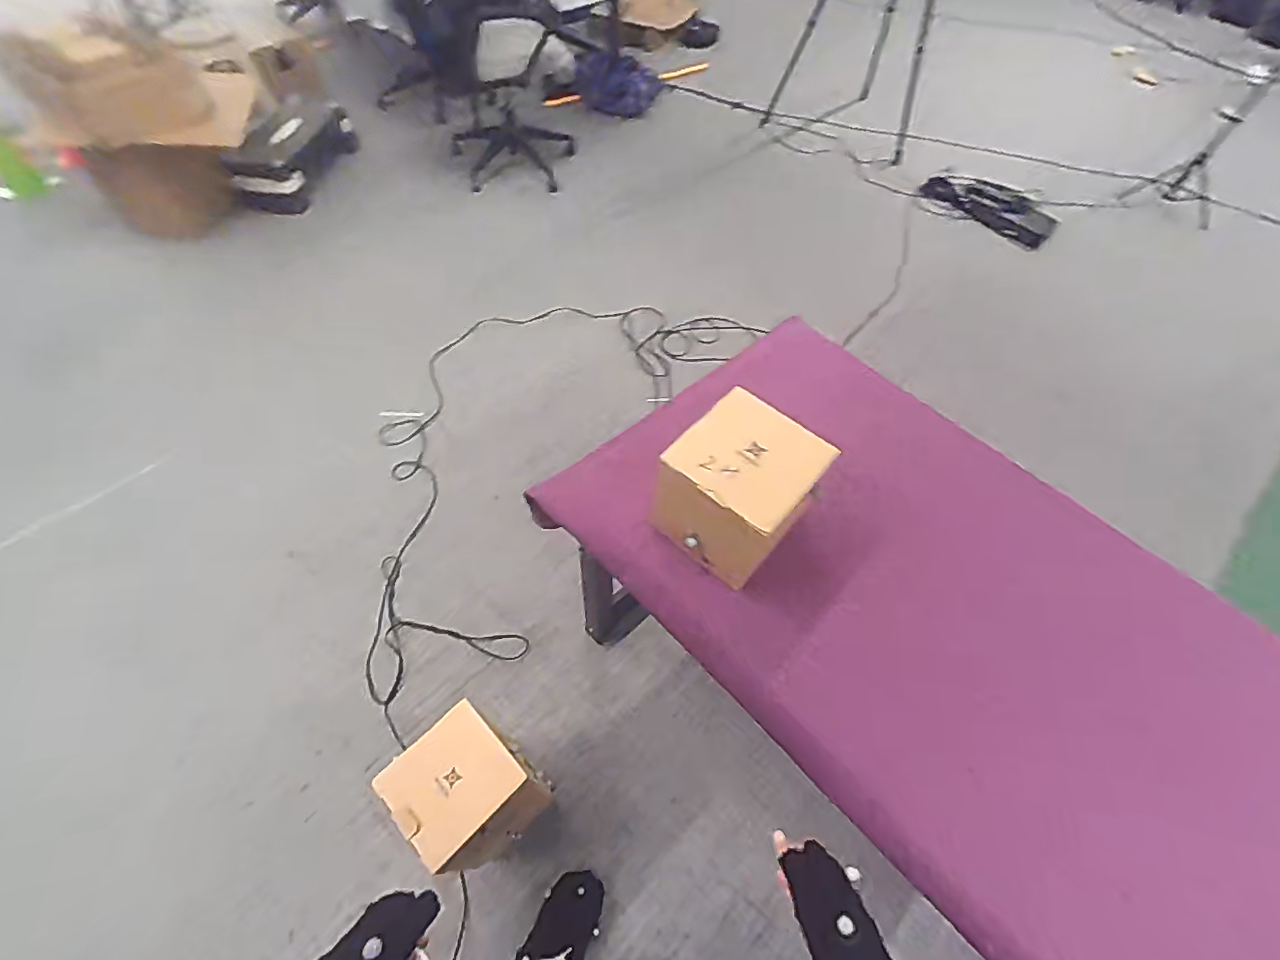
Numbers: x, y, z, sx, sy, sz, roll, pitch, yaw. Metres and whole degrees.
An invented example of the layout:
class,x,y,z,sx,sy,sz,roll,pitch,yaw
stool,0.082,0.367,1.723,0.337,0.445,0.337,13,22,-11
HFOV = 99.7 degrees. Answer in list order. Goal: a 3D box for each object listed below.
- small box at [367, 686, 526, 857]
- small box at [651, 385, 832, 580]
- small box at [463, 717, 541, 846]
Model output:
class,x,y,z,sx,sy,sz,roll,pitch,yaw
small box,-0.305,0.478,0.898,0.179,0.176,0.168,-40,68,-23
small box,0.131,0.007,0.764,0.168,0.176,0.179,39,61,18
small box,-0.330,0.652,1.174,0.179,0.176,0.168,-36,67,-23
